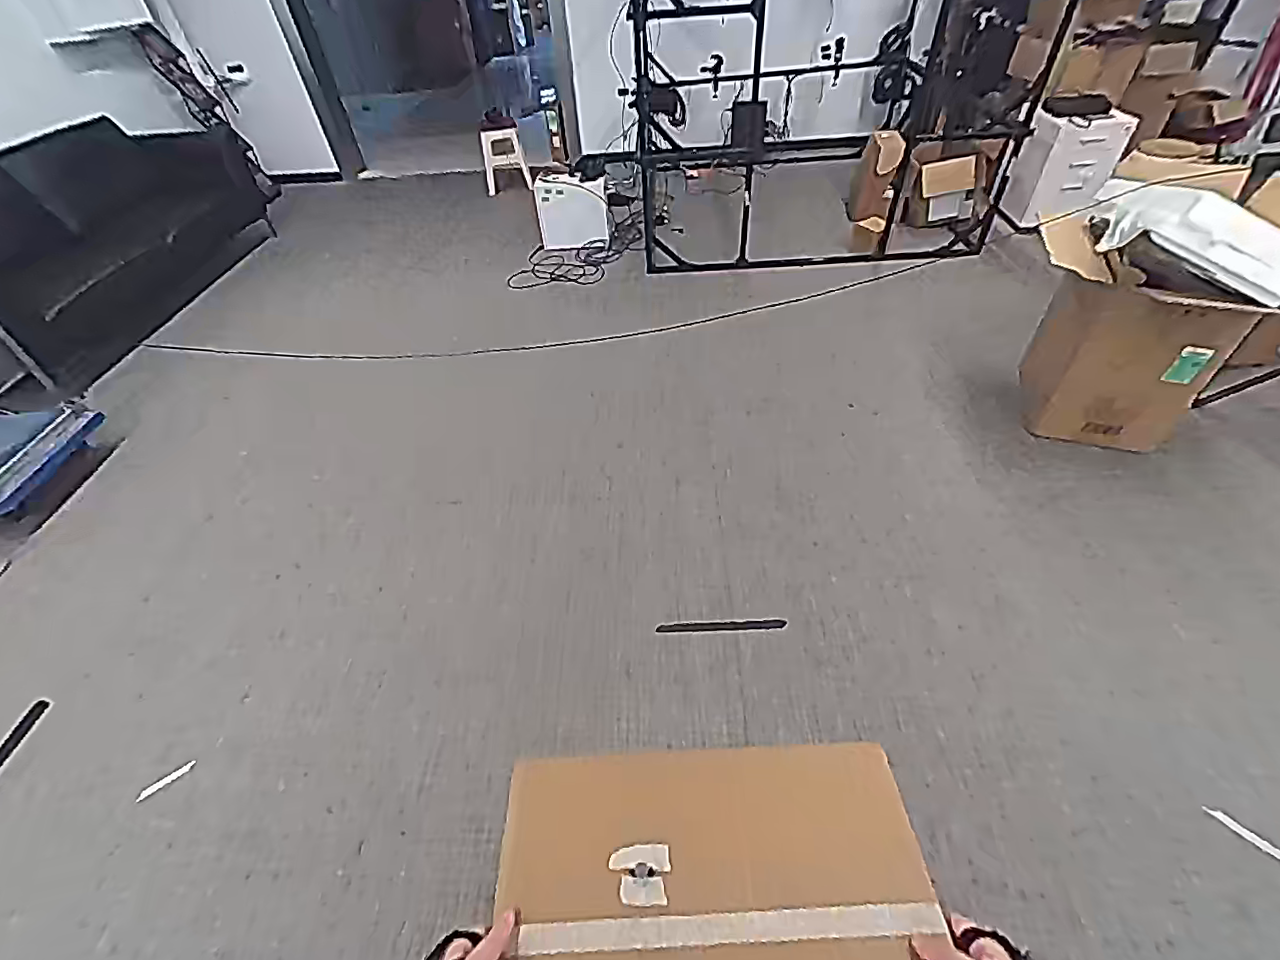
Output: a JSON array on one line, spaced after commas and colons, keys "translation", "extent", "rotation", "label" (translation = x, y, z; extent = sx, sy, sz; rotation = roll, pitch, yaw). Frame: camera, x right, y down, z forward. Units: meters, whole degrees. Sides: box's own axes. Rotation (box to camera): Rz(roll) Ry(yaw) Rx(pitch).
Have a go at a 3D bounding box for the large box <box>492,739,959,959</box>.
[{"translation": [0.078, 0.504, 0.572], "extent": [0.408, 0.320, 0.320], "rotation": [-4, 42, 1], "label": "large box"}]
